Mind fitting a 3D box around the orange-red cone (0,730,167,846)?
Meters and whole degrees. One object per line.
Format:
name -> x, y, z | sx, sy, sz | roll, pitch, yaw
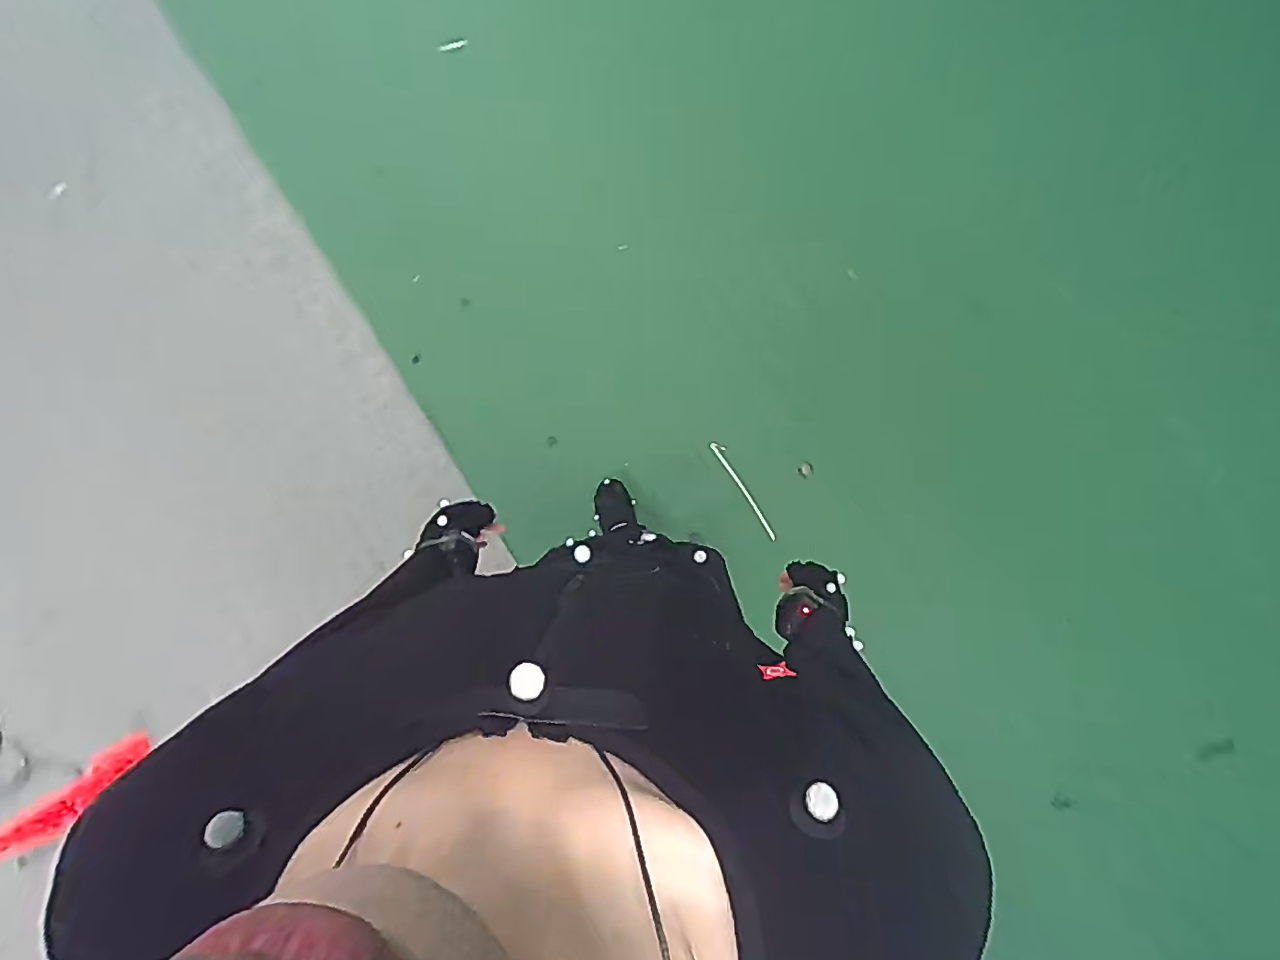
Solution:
orange-red cone -> -1.524, 0.854, 1.429 | 0.199, 0.360, 0.198 | -28, 87, 1
